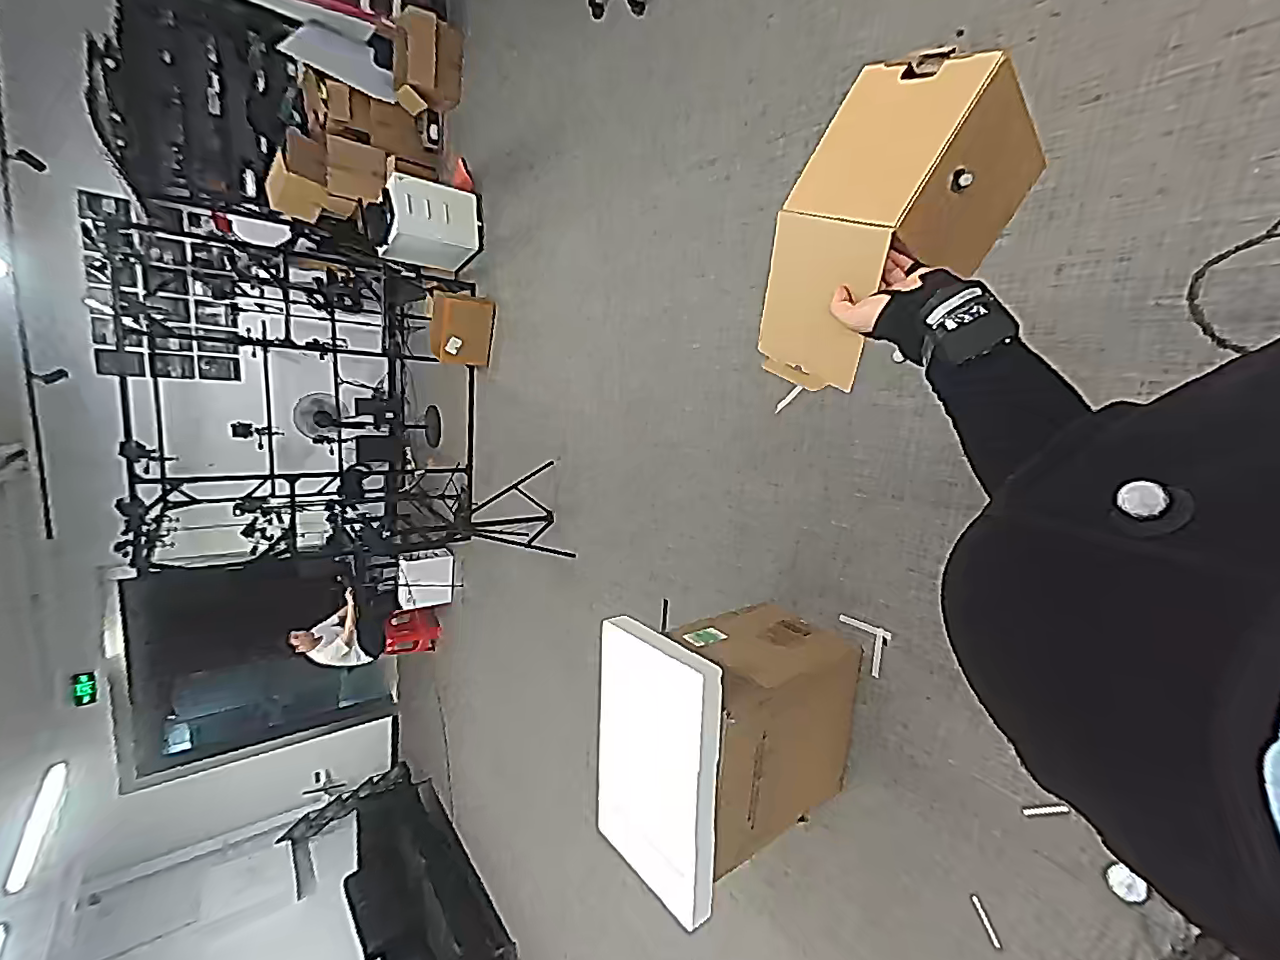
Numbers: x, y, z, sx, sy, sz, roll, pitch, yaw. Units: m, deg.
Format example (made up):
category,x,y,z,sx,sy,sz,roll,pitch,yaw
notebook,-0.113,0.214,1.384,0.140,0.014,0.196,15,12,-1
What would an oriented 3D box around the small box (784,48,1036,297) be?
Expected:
category,x,y,z,sx,sy,sz,roll,pitch,yaw
small box,0.309,-0.337,0.619,0.179,0.176,0.168,-59,42,12
